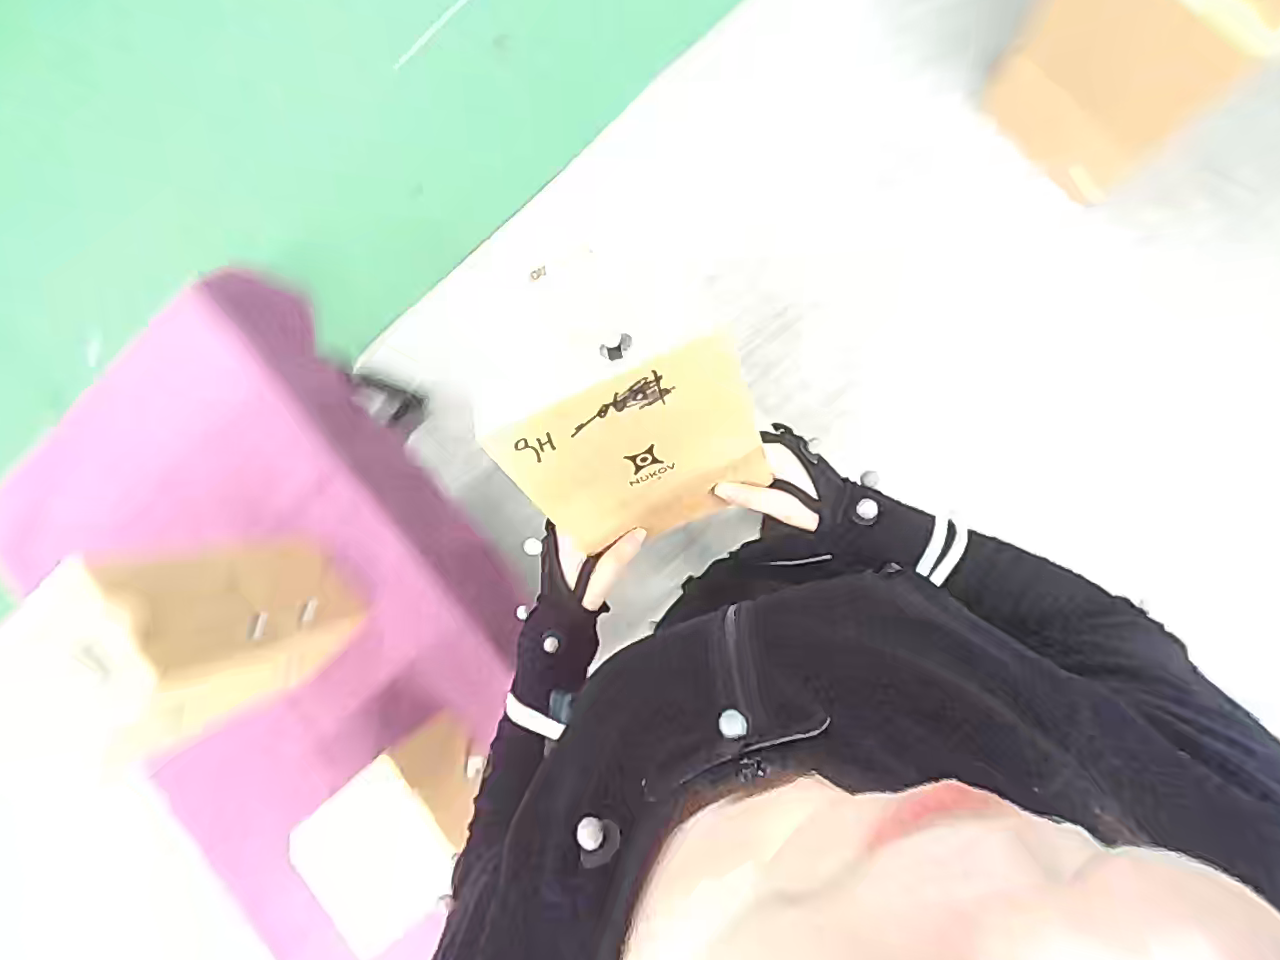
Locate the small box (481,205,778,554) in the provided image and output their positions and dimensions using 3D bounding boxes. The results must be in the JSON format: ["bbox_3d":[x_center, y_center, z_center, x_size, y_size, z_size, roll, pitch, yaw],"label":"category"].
[{"bbox_3d":[-0.008,-0.074,0.428,0.168,0.179,0.176,-23,51,7],"label":"small box"}]

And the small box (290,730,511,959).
[{"bbox_3d":[-0.308,0.482,0.730,0.179,0.176,0.168,-43,82,4],"label":"small box"}]
